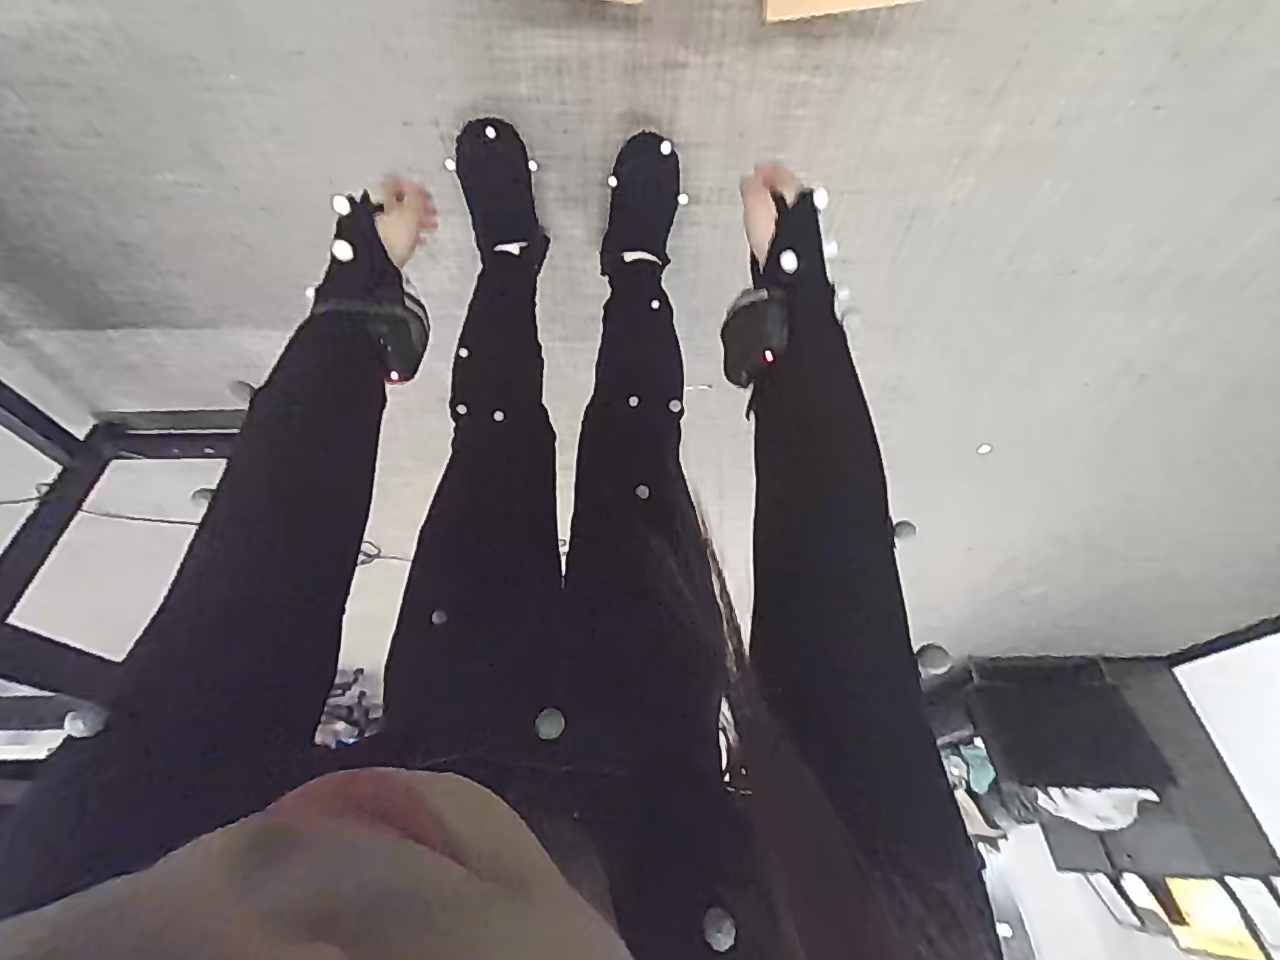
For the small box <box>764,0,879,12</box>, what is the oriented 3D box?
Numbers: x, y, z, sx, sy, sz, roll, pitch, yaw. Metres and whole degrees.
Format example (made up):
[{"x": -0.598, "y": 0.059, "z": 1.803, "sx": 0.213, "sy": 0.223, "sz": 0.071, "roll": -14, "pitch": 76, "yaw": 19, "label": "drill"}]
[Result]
[{"x": 0.211, "y": -0.618, "z": 0.552, "sx": 0.179, "sy": 0.176, "sz": 0.168, "roll": -5, "pitch": 147, "yaw": 4, "label": "small box"}]
